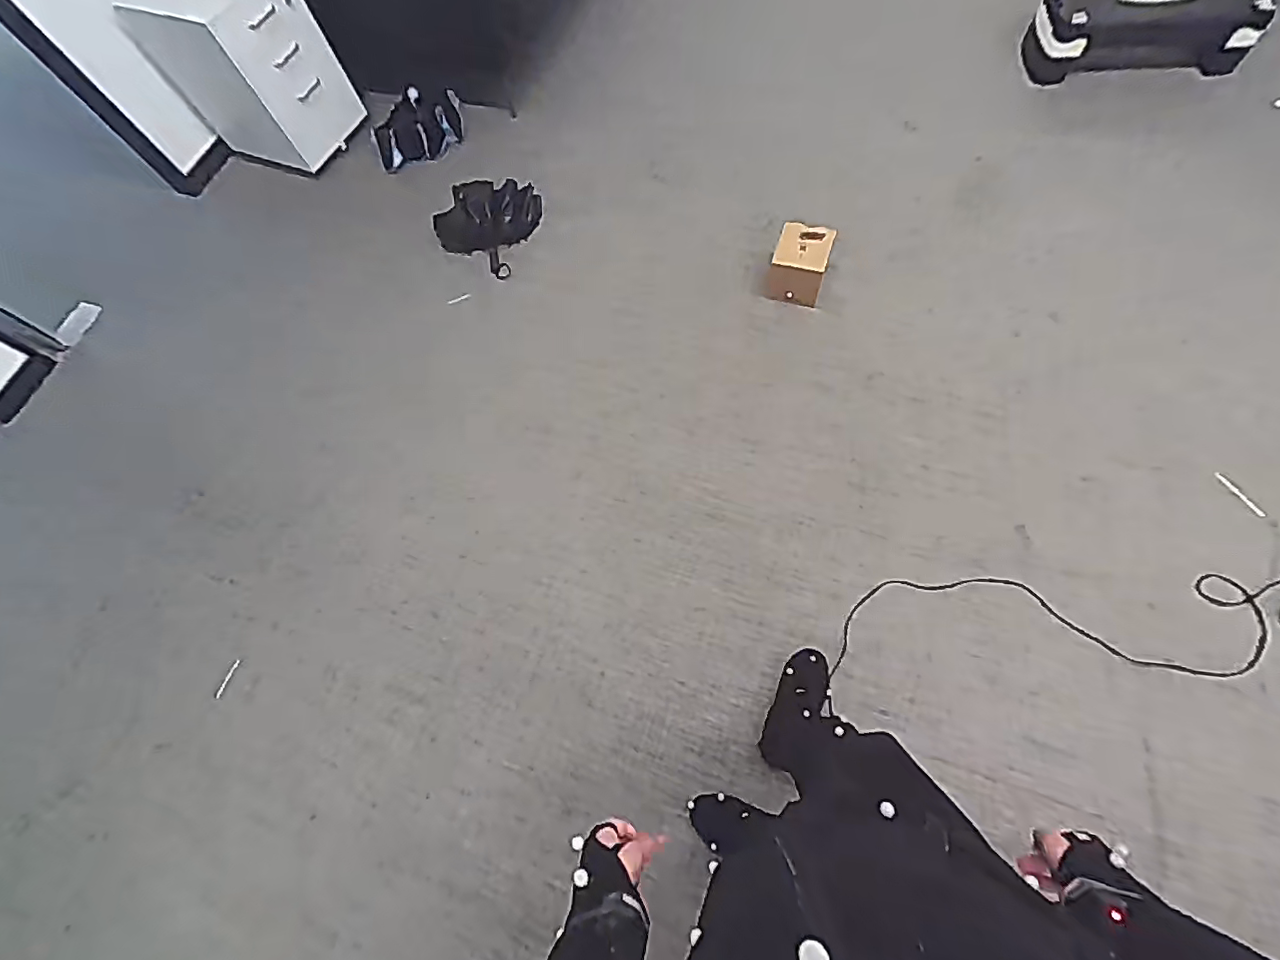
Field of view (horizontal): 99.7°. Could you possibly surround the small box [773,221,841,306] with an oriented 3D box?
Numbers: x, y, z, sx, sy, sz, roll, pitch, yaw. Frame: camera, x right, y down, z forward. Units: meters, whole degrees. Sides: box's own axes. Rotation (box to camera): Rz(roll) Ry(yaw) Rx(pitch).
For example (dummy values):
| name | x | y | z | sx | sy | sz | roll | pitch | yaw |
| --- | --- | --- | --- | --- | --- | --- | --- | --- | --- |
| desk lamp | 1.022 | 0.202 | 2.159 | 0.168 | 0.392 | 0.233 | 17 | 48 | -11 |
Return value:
| name | x | y | z | sx | sy | sz | roll | pitch | yaw |
| --- | --- | --- | --- | --- | --- | --- | --- | --- | --- |
| small box | 0.537 | -0.702 | 1.757 | 0.168 | 0.176 | 0.179 | 16 | 71 | 15 |
